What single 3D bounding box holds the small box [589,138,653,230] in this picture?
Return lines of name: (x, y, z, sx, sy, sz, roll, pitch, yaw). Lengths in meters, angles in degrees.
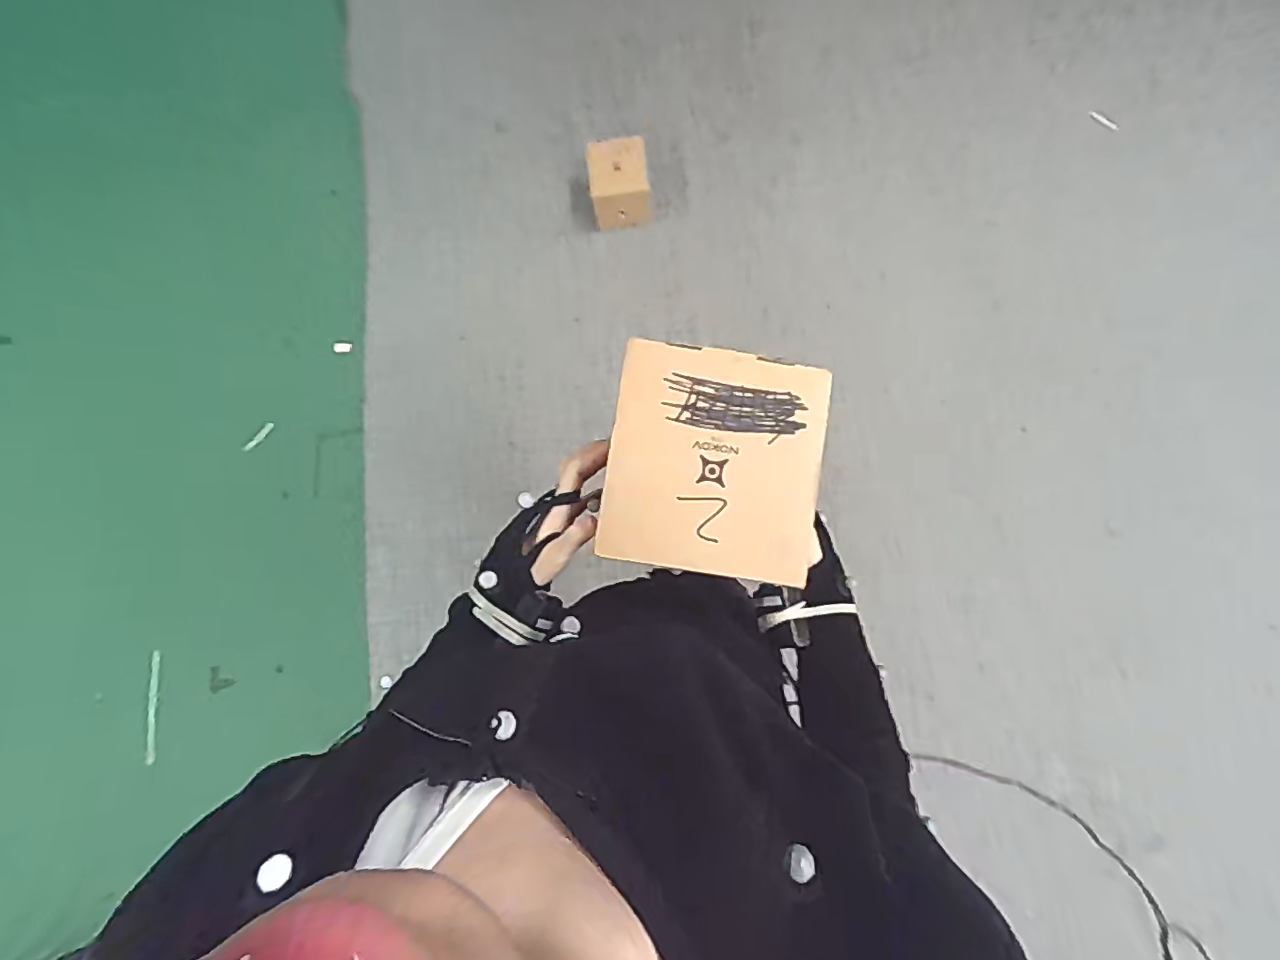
small box: (-0.051, -0.869, 1.608, 0.168, 0.176, 0.179, -5, 81, 4)
